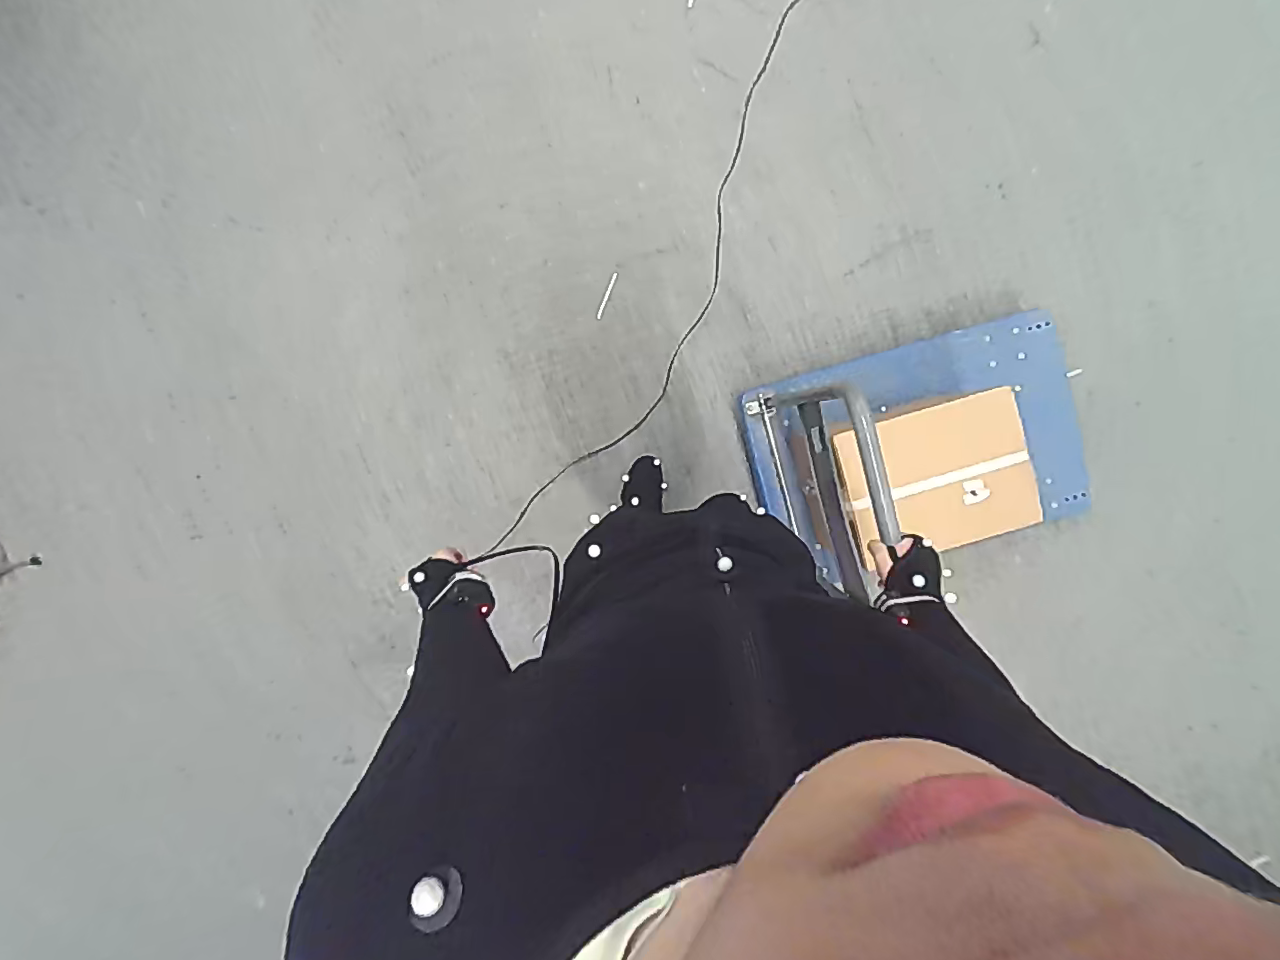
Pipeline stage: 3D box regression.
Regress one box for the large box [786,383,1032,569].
[{"bbox_3d":[0.627,-0.014,1.325,0.408,0.320,0.320,-17,95,-1],"label":"large box"}]
